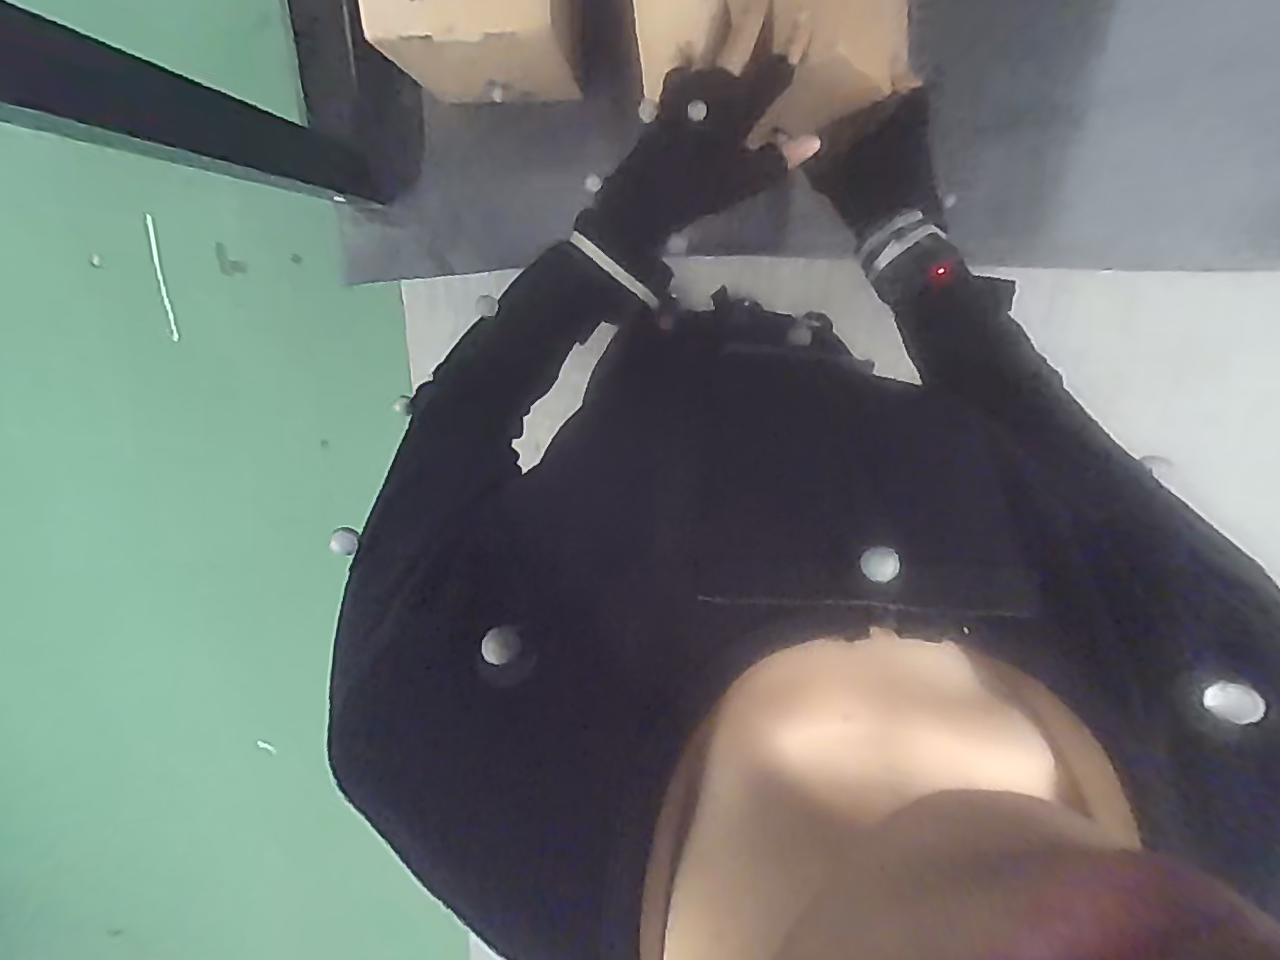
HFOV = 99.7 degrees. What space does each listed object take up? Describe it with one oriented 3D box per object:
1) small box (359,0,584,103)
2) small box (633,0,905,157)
[{"bbox_3d":[-0.148,-0.484,0.505,0.168,0.176,0.179,2,109,5],"label":"small box"},{"bbox_3d":[0.110,-0.400,0.448,0.168,0.176,0.179,4,108,40],"label":"small box"}]
